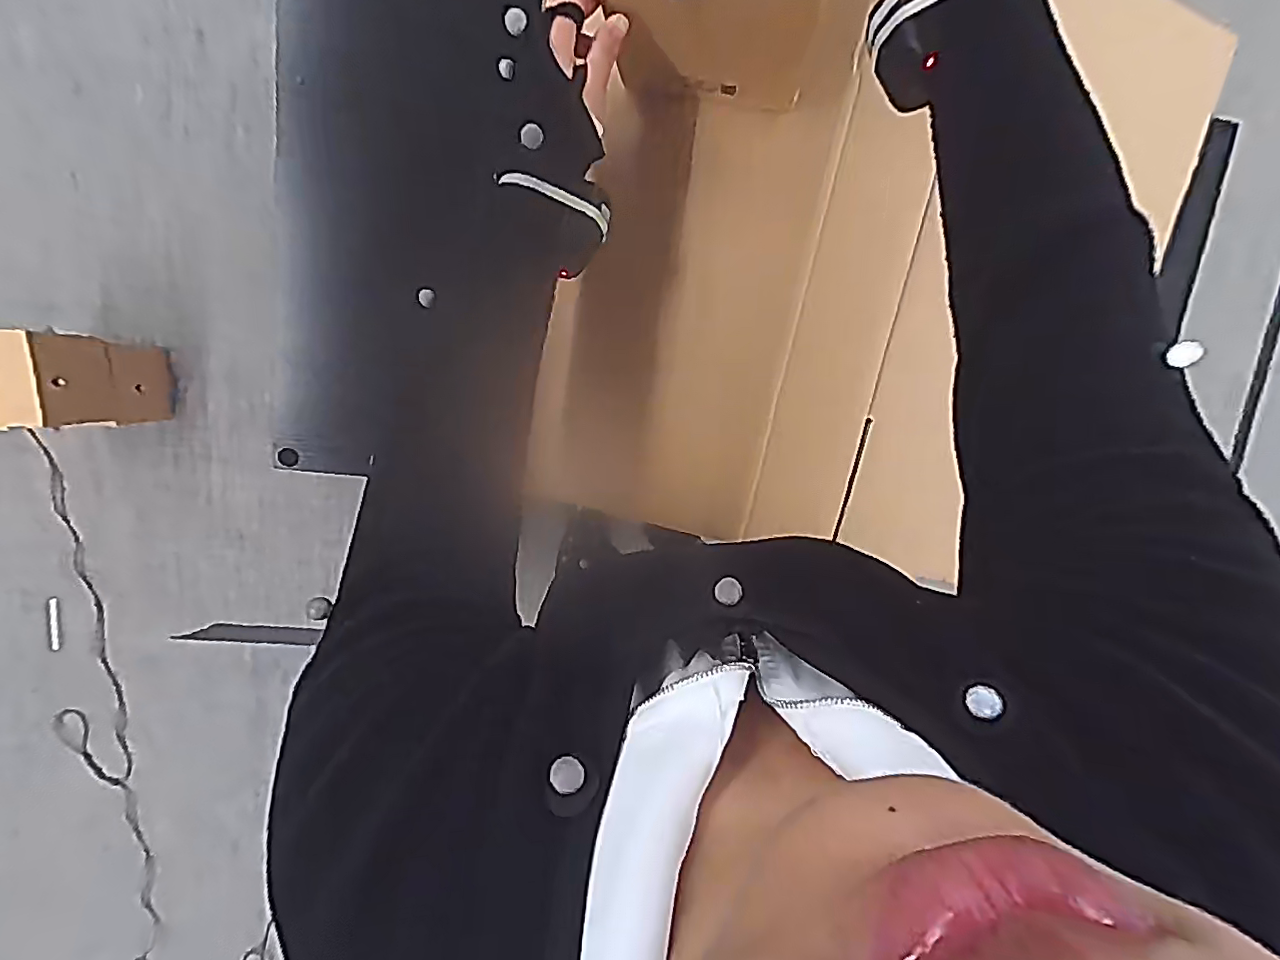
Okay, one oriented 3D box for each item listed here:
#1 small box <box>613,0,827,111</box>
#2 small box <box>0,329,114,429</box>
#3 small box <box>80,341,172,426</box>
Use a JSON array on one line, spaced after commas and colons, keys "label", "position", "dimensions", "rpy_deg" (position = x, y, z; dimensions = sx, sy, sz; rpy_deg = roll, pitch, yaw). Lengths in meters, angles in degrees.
[{"label": "small box", "position": [0.071, -0.429, 0.409], "dimensions": [0.168, 0.176, 0.179], "rpy_deg": [14, 98, 5]}, {"label": "small box", "position": [-1.166, -0.192, 1.033], "dimensions": [0.168, 0.176, 0.179], "rpy_deg": [-2, 100, -8]}, {"label": "small box", "position": [-1.185, -0.216, 1.192], "dimensions": [0.168, 0.176, 0.179], "rpy_deg": [2, 101, -8]}]
